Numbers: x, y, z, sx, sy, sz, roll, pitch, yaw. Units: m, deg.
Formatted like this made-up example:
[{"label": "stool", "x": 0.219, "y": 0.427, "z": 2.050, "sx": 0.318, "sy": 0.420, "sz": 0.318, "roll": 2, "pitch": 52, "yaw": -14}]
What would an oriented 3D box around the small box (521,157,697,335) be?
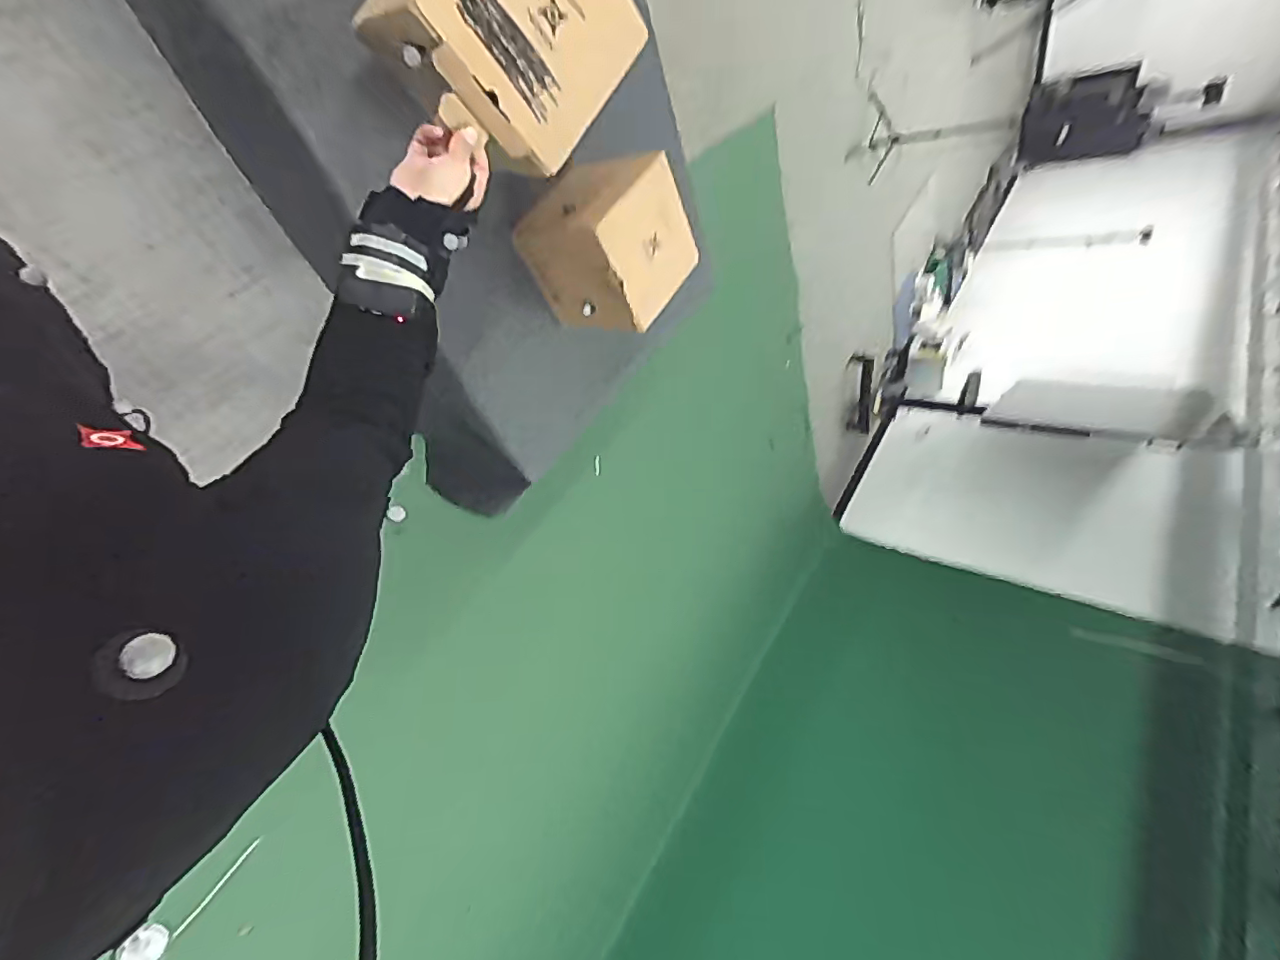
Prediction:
[{"label": "small box", "x": -0.047, "y": -0.334, "z": 0.789, "sx": 0.179, "sy": 0.176, "sz": 0.168, "roll": -58, "pitch": 142, "yaw": -23}]
